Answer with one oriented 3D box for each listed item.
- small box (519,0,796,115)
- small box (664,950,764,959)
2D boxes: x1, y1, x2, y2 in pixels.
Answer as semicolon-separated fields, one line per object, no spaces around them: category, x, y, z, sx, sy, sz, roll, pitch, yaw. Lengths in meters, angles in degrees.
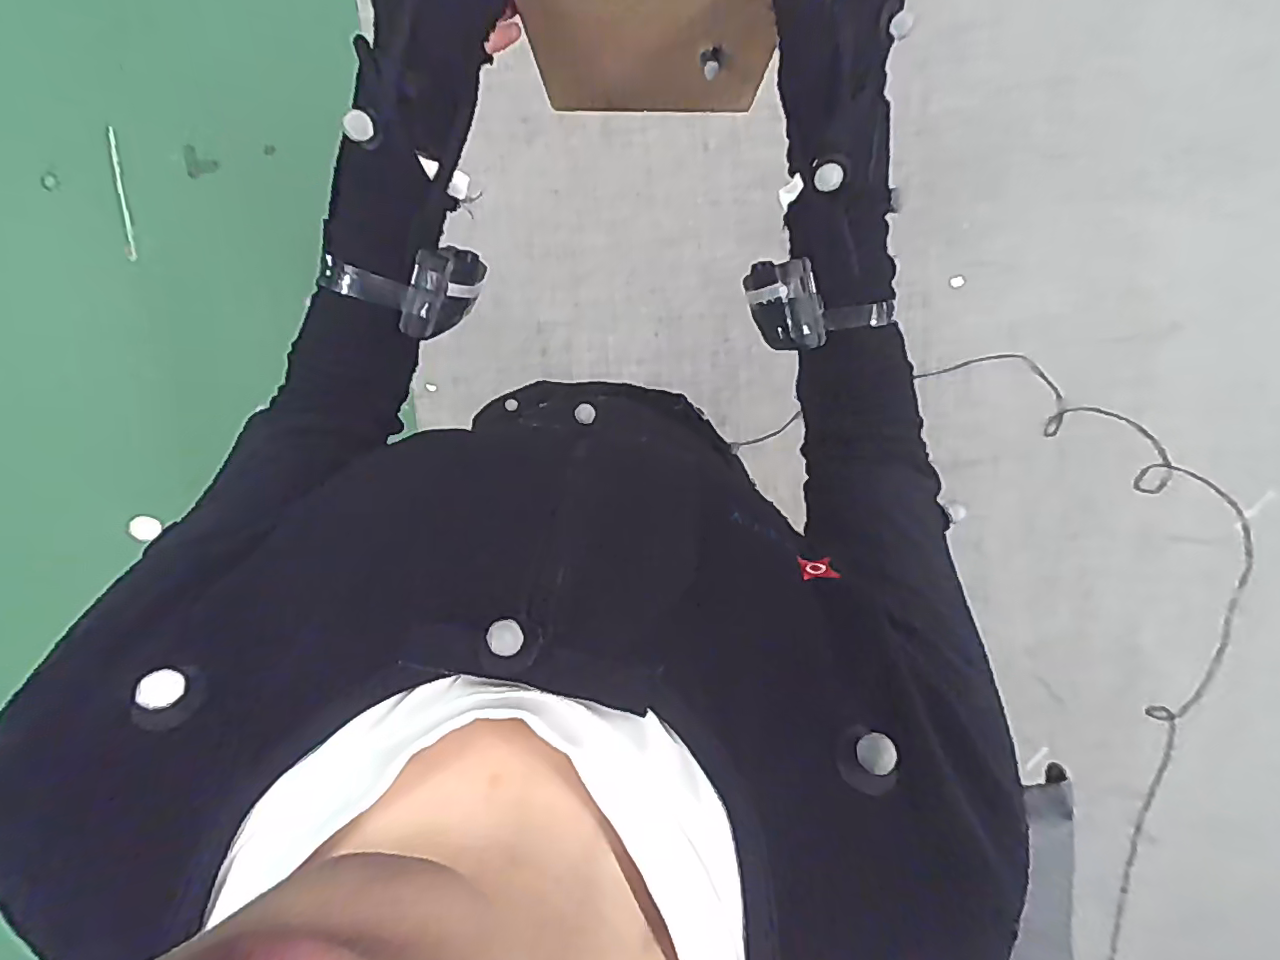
small box;0.012;-0.386;0.381;0.179;0.176;0.168;0;100;2
small box;0.119;0.823;0.777;0.168;0.176;0.179;-4;100;2
